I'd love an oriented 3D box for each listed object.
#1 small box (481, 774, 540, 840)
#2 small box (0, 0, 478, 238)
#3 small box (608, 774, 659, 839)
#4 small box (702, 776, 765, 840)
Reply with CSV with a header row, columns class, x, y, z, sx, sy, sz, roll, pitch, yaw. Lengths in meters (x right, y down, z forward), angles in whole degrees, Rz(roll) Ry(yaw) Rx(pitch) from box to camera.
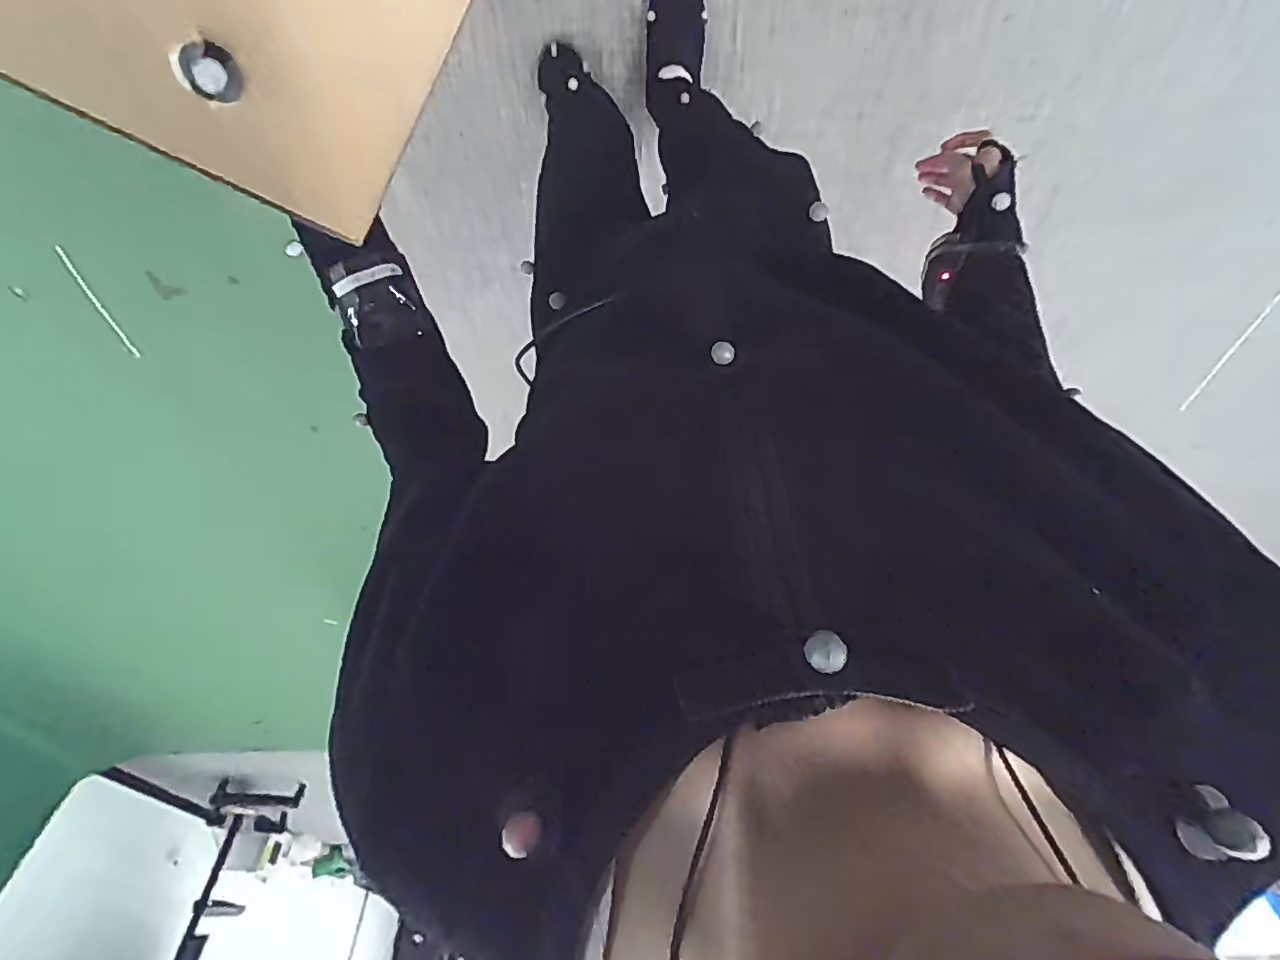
class,x,y,z,sx,sy,sz,roll,pitch,yaw
small box,-0.460,1.178,1.950,0.168,0.176,0.179,-4,133,0
small box,-0.189,-0.258,0.249,0.179,0.168,0.176,15,122,-46
small box,-0.027,1.192,1.976,0.179,0.176,0.168,-1,133,-2
small box,0.341,1.217,2.008,0.179,0.176,0.168,10,133,-9
